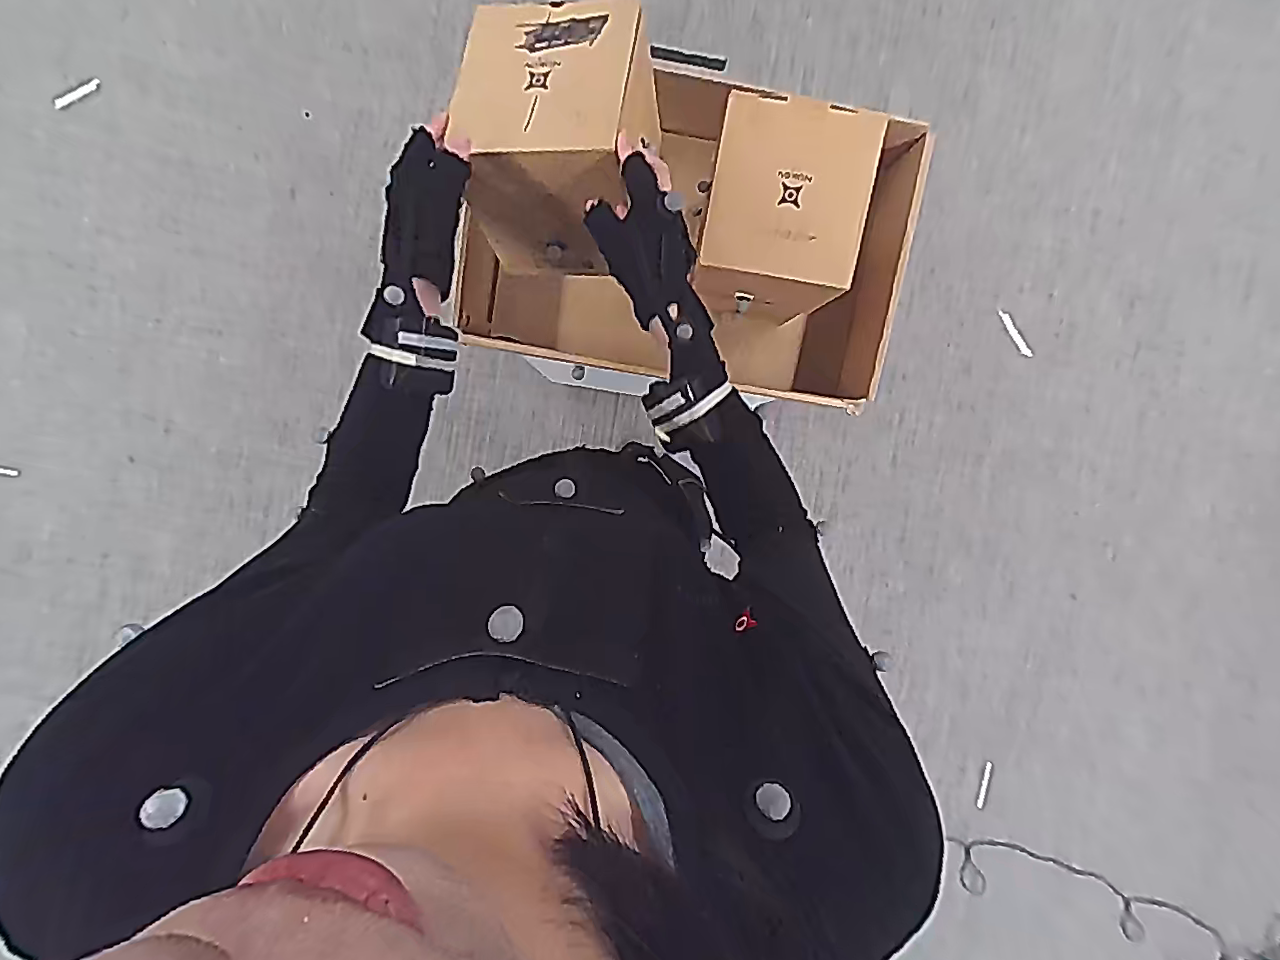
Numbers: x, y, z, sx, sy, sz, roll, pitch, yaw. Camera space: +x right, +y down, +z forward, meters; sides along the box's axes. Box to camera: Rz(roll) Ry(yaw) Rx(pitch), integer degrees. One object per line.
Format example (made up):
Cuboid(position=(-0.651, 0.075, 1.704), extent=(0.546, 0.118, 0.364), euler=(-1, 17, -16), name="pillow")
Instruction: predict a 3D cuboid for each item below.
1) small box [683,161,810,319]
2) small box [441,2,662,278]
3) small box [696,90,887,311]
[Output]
Cuboid(position=(0.168, -0.342, 0.801), extent=(0.179, 0.176, 0.168), euler=(10, 98, -1), name="small box")
Cuboid(position=(-0.073, -0.339, 0.561), extent=(0.168, 0.176, 0.179), euler=(5, 74, 11), name="small box")
Cuboid(position=(0.162, -0.313, 0.641), extent=(0.168, 0.176, 0.179), euler=(9, 99, 1), name="small box")
